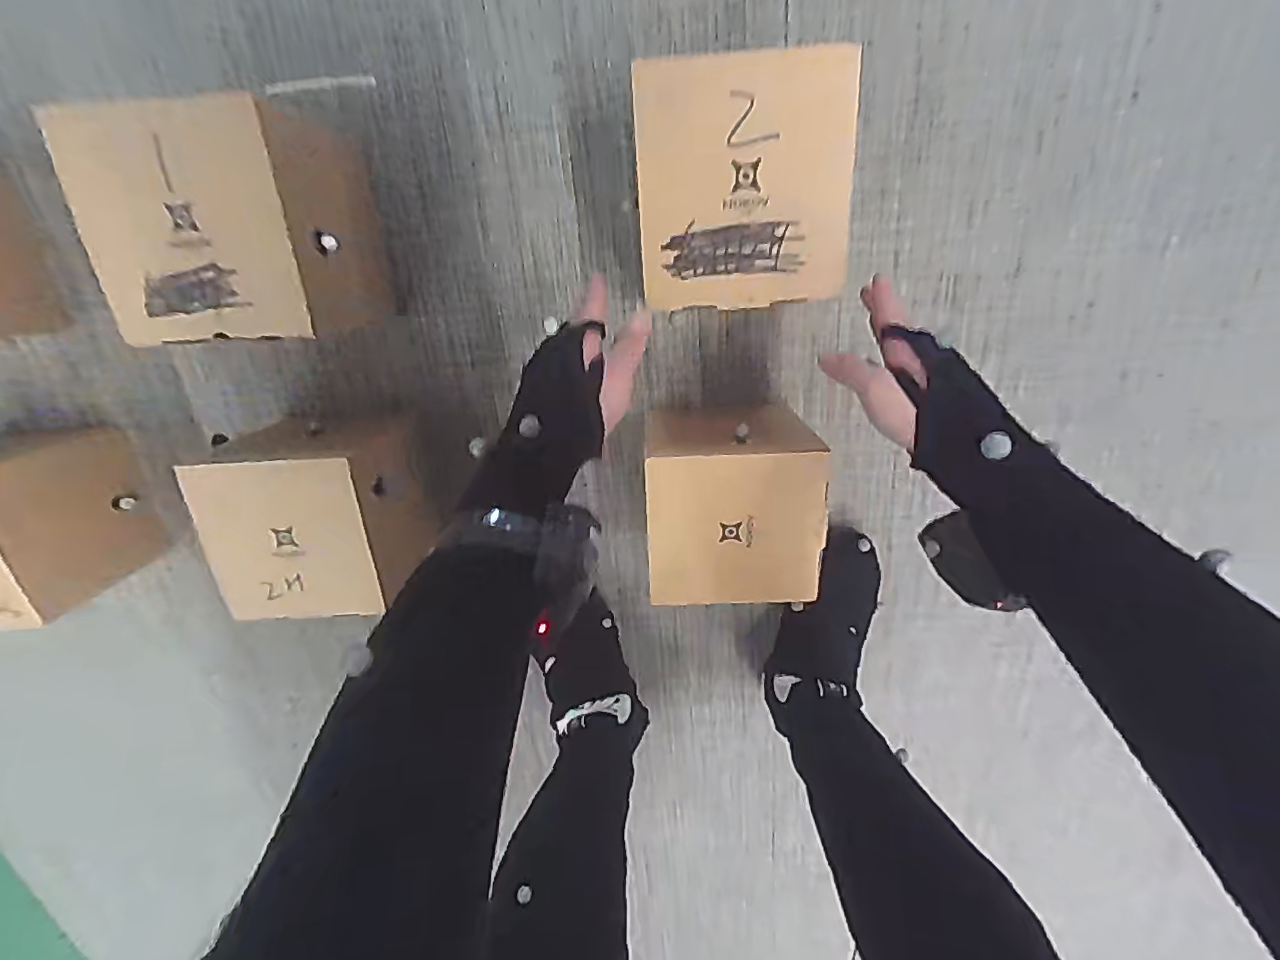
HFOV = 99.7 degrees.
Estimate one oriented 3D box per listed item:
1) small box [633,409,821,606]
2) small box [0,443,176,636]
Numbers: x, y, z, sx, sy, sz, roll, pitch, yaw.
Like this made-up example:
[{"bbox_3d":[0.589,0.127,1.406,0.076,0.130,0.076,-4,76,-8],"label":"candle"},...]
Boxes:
[{"bbox_3d":[0.085,0.023,0.604,0.179,0.176,0.168,-3,112,1],"label":"small box"},{"bbox_3d":[-0.706,0.060,0.626,0.168,0.176,0.179,-4,111,3],"label":"small box"}]
